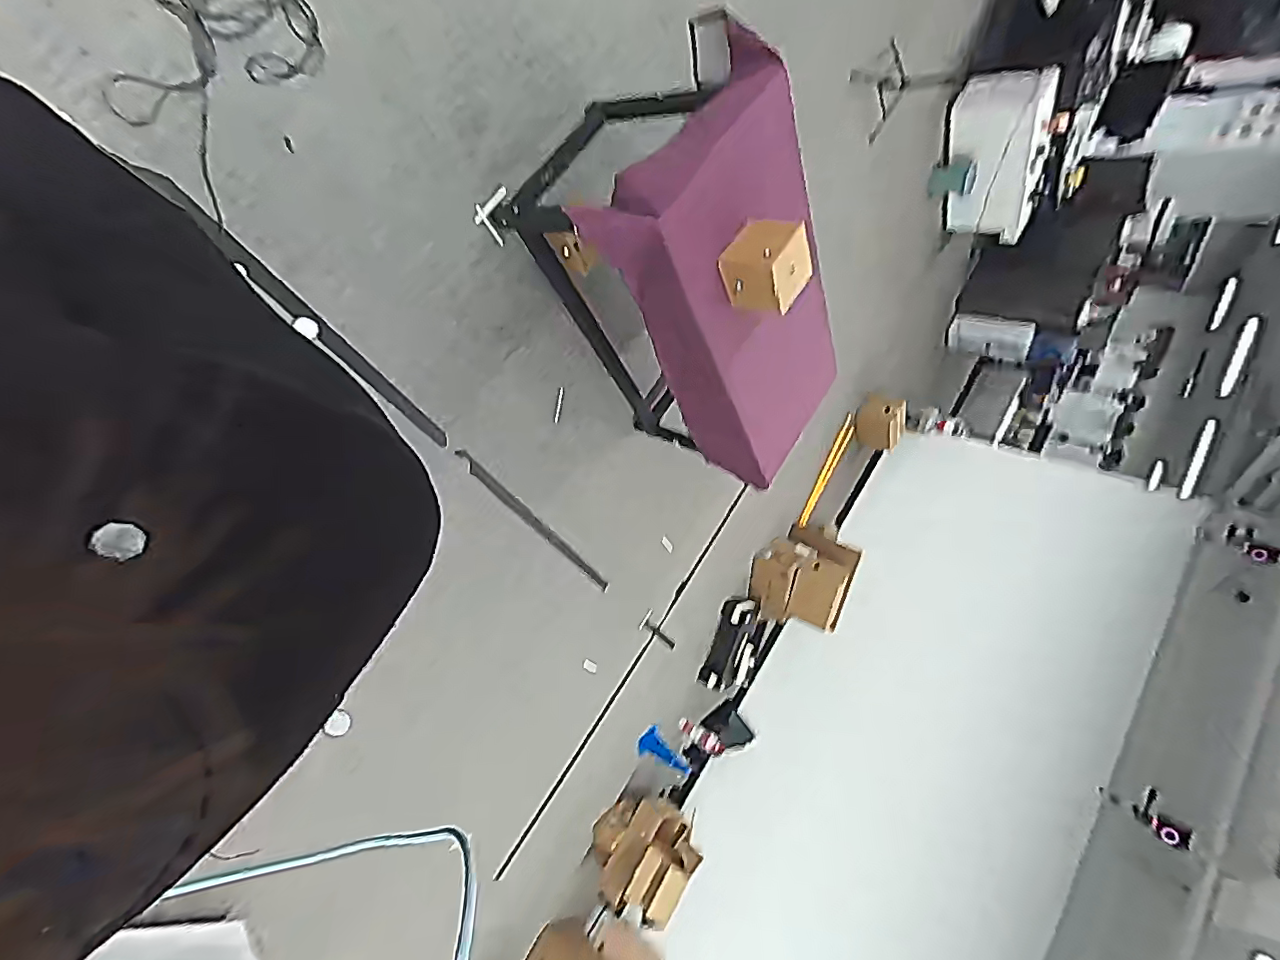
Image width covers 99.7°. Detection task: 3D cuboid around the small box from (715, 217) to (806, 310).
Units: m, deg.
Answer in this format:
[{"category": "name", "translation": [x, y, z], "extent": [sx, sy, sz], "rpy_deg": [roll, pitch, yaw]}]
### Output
[{"category": "small box", "translation": [0.334, -0.601, 1.491], "extent": [0.179, 0.176, 0.168], "rpy_deg": [-55, 142, -14]}]
